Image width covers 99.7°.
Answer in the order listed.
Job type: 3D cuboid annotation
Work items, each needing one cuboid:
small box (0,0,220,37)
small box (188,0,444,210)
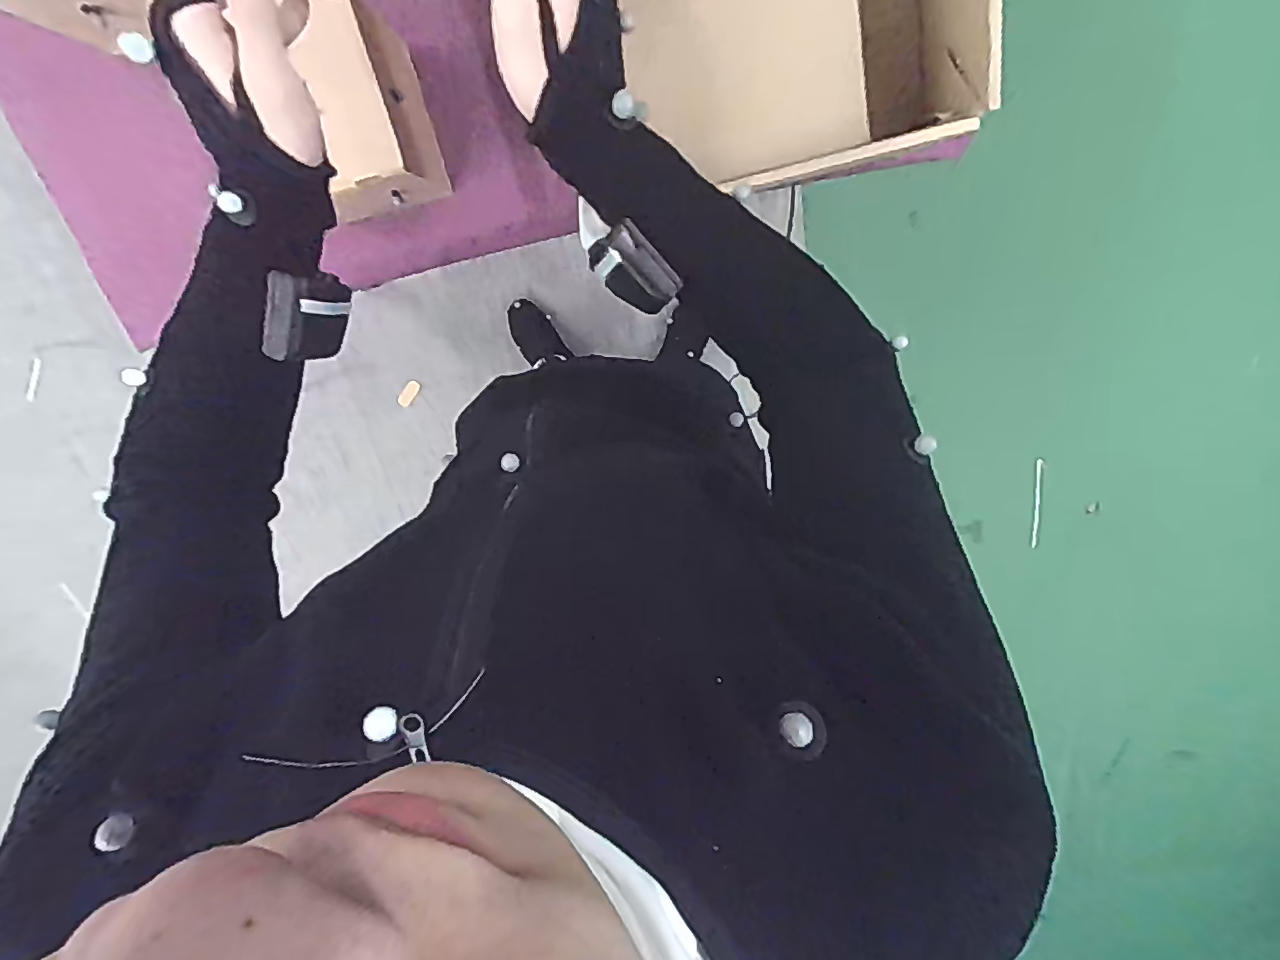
[{"bbox_3d":[-0.600,-0.605,0.563,0.168,0.176,0.179,-14,110,5],"label":"small box"},{"bbox_3d":[-0.354,-0.430,0.634,0.168,0.176,0.179,-12,110,3],"label":"small box"}]
